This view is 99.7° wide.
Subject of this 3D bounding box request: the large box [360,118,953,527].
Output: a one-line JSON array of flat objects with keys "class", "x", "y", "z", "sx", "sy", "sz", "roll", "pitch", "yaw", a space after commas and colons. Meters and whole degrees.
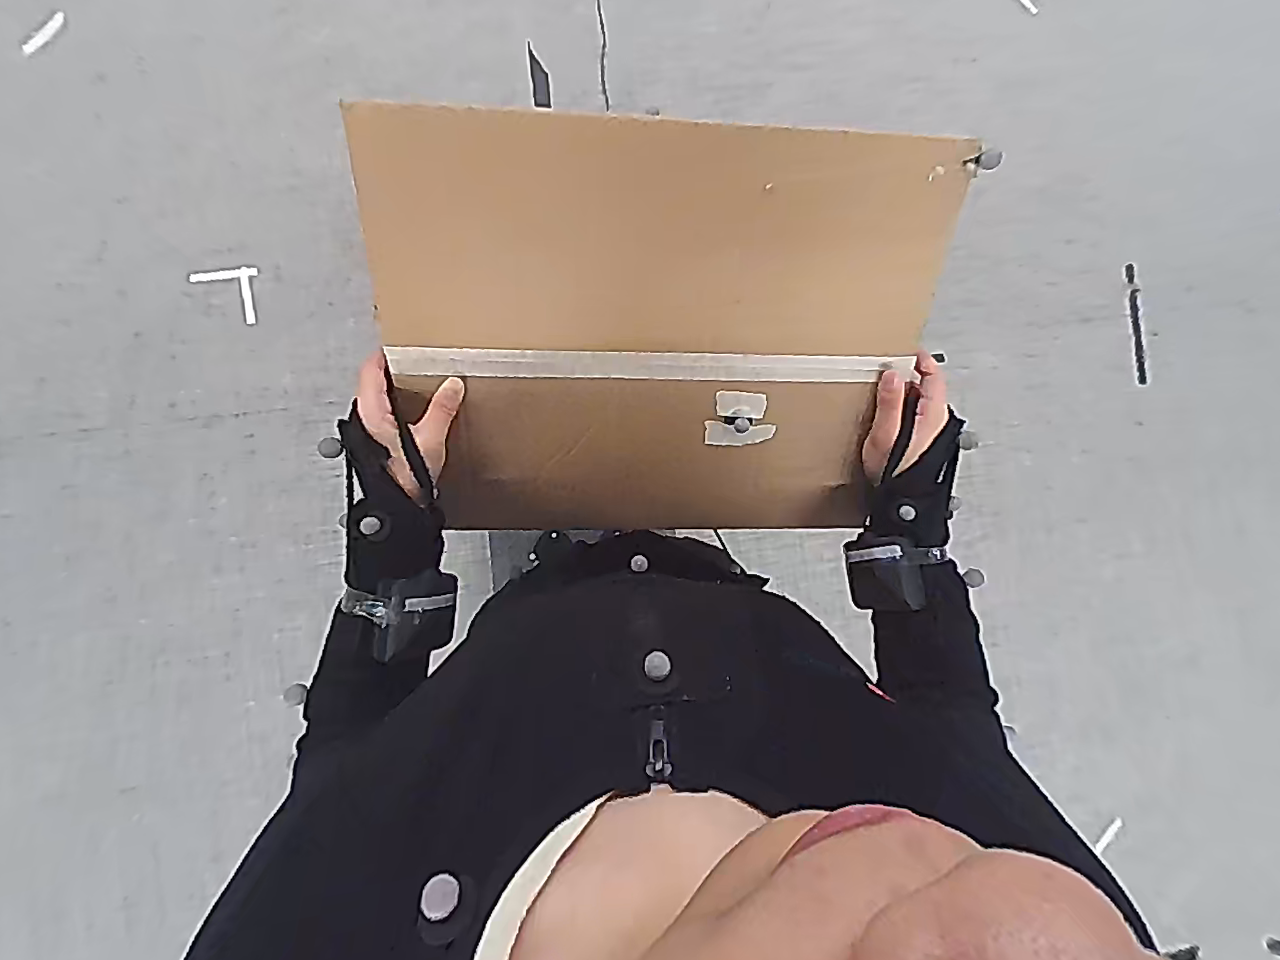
[{"class": "large box", "x": 0.001, "y": -0.170, "z": 0.556, "sx": 0.408, "sy": 0.320, "sz": 0.320, "roll": -1, "pitch": 122, "yaw": -6}]
